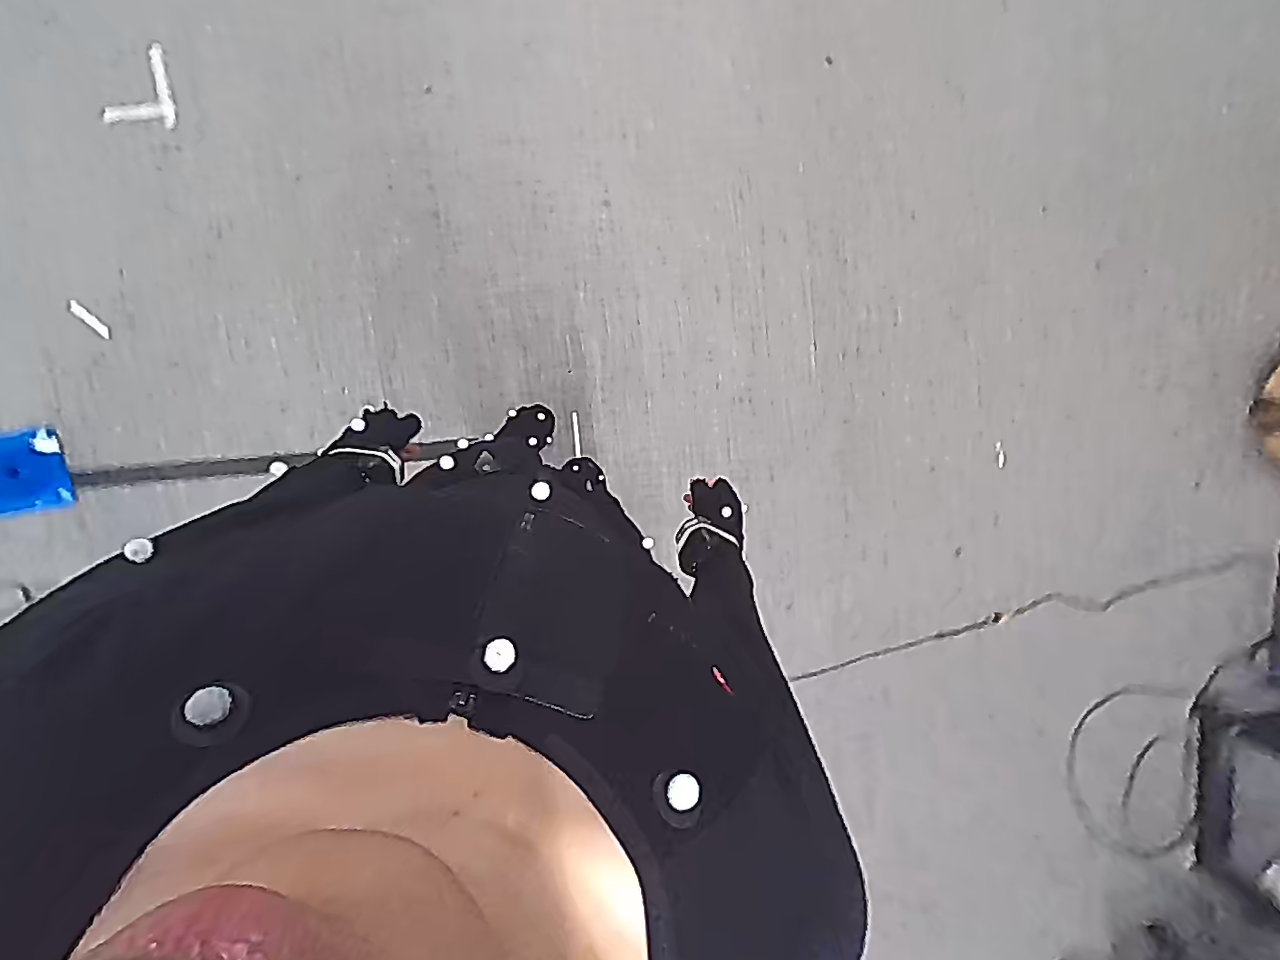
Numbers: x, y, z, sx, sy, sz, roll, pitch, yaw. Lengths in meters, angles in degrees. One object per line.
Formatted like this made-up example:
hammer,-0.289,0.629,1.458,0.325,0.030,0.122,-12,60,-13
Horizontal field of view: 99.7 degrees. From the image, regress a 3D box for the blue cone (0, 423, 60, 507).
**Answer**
blue cone,-1.524,-0.021,1.167,0.193,0.380,0.192,-9,96,-5
